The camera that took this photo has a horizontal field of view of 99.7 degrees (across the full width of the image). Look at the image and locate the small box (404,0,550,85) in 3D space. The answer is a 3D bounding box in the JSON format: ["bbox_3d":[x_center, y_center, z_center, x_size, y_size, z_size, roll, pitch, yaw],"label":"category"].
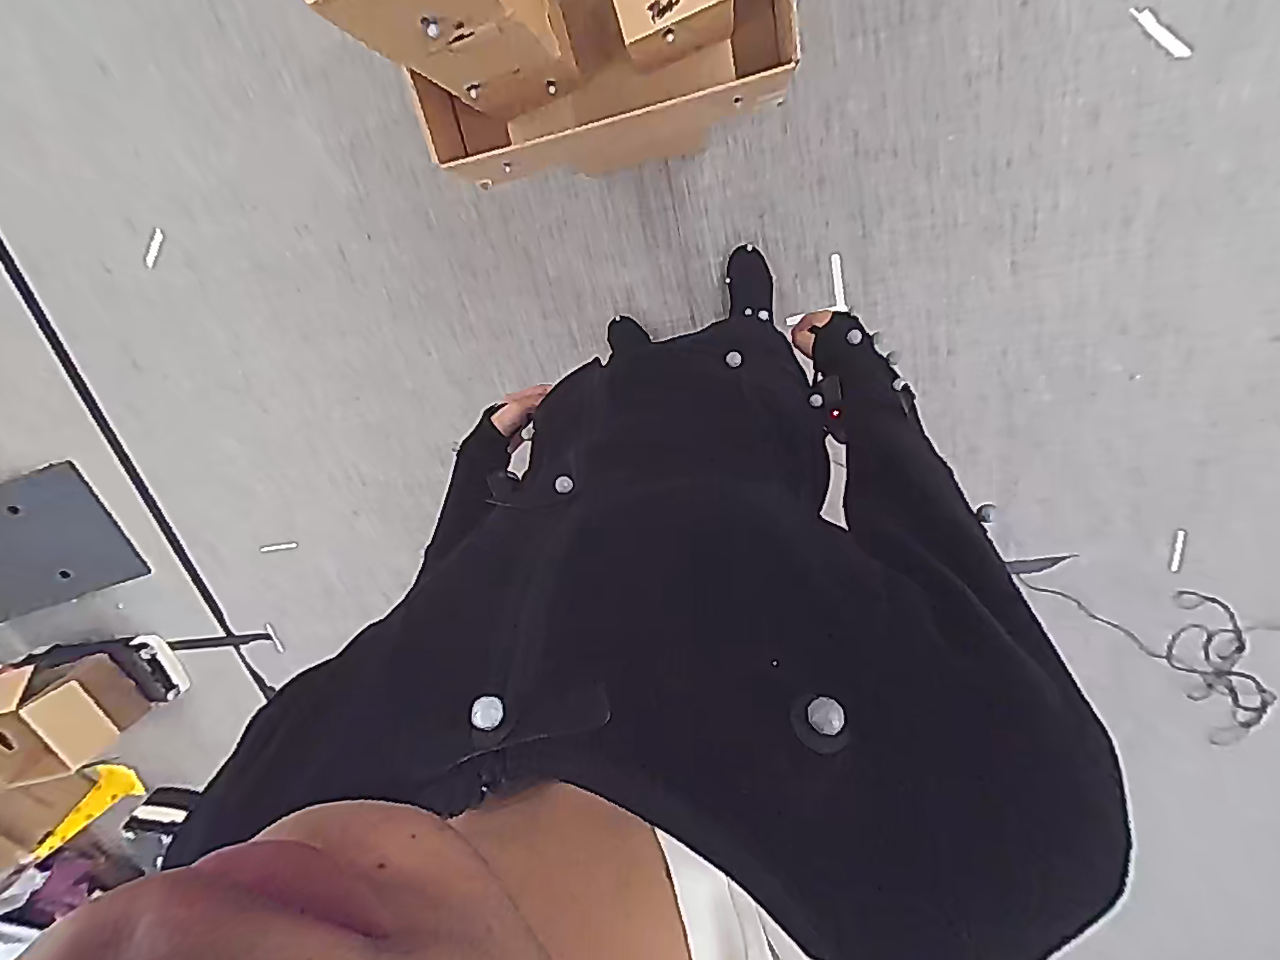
[{"bbox_3d":[-0.239,-0.668,0.729,0.168,0.176,0.179,-12,109,13],"label":"small box"}]

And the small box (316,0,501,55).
[{"bbox_3d":[-0.276,-0.609,0.578,0.168,0.176,0.179,-13,109,14],"label":"small box"}]
